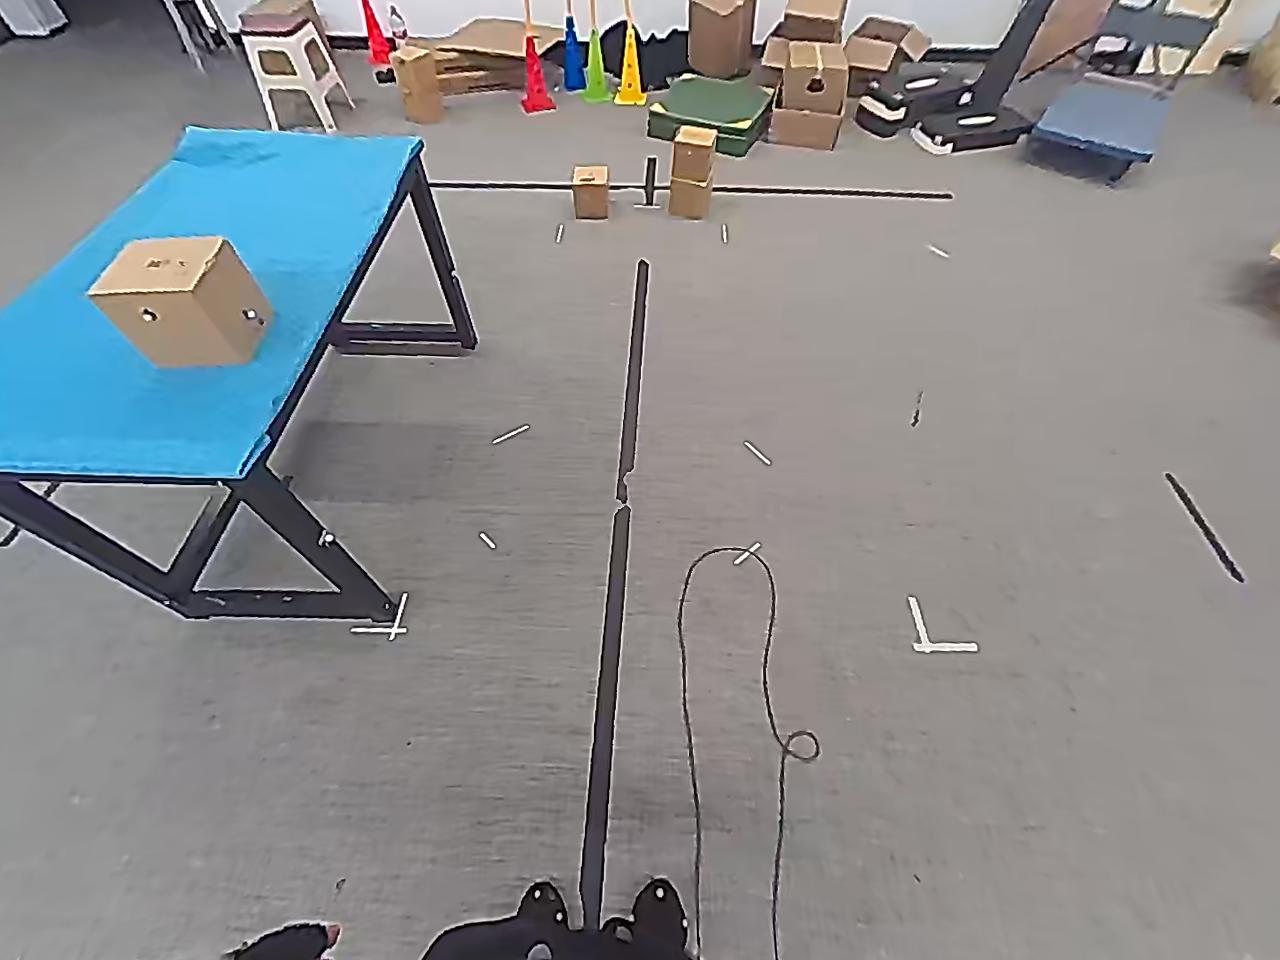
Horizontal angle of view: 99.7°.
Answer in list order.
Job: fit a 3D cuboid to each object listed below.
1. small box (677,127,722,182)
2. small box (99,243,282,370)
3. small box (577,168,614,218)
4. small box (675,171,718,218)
[{"bbox_3d":[0.279,-1.553,2.582,0.179,0.176,0.168,14,56,8],"label":"small box"},{"bbox_3d":[-0.836,-0.326,1.029,0.179,0.176,0.168,1,56,-2],"label":"small box"},{"bbox_3d":[-0.215,-1.424,2.689,0.168,0.176,0.179,1,54,1],"label":"small box"},{"bbox_3d":[0.279,-1.436,2.701,0.179,0.176,0.168,16,56,9],"label":"small box"}]
